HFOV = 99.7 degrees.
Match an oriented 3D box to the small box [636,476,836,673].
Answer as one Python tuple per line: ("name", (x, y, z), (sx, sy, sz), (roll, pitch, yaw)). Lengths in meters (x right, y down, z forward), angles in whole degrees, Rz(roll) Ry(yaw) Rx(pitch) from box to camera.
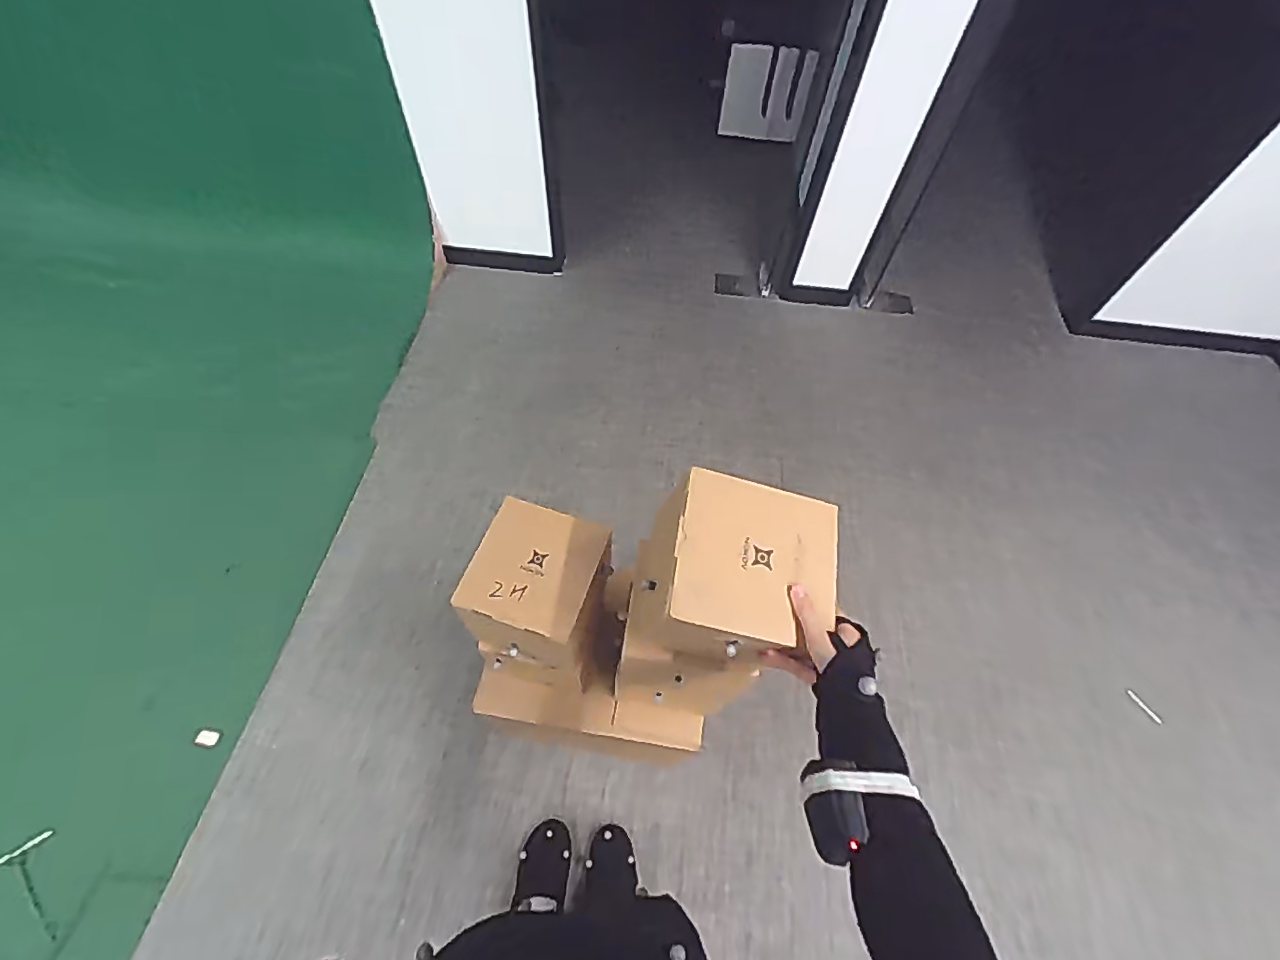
("small box", (0.103, 0.120, 0.626), (0.179, 0.176, 0.168), (15, 64, -7))
